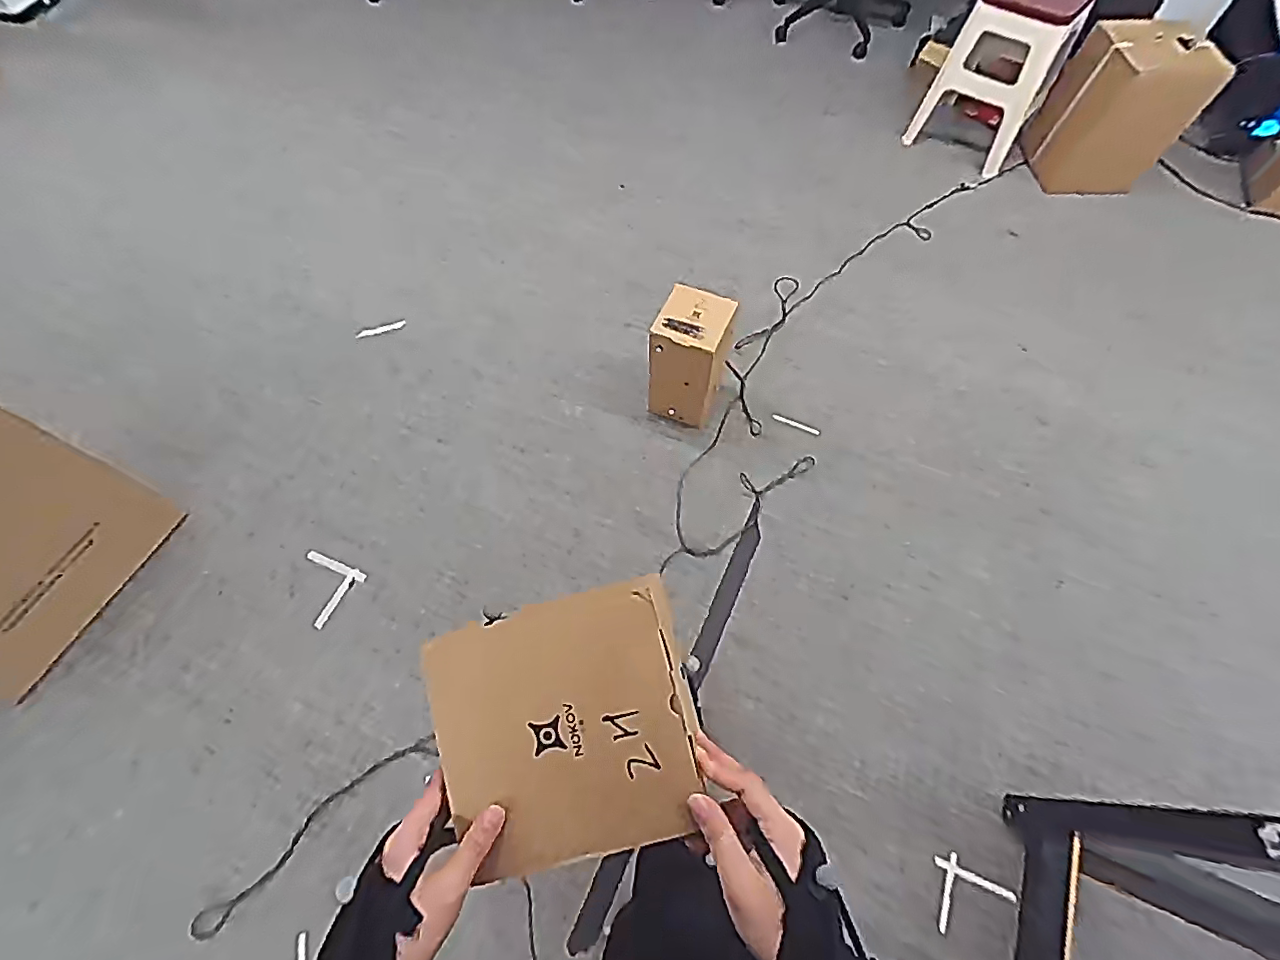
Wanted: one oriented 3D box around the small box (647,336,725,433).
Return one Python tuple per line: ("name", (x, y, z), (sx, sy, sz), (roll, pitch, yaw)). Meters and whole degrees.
("small box", (0.124, -0.264, 1.519), (0.168, 0.176, 0.179), (21, 65, 11))
